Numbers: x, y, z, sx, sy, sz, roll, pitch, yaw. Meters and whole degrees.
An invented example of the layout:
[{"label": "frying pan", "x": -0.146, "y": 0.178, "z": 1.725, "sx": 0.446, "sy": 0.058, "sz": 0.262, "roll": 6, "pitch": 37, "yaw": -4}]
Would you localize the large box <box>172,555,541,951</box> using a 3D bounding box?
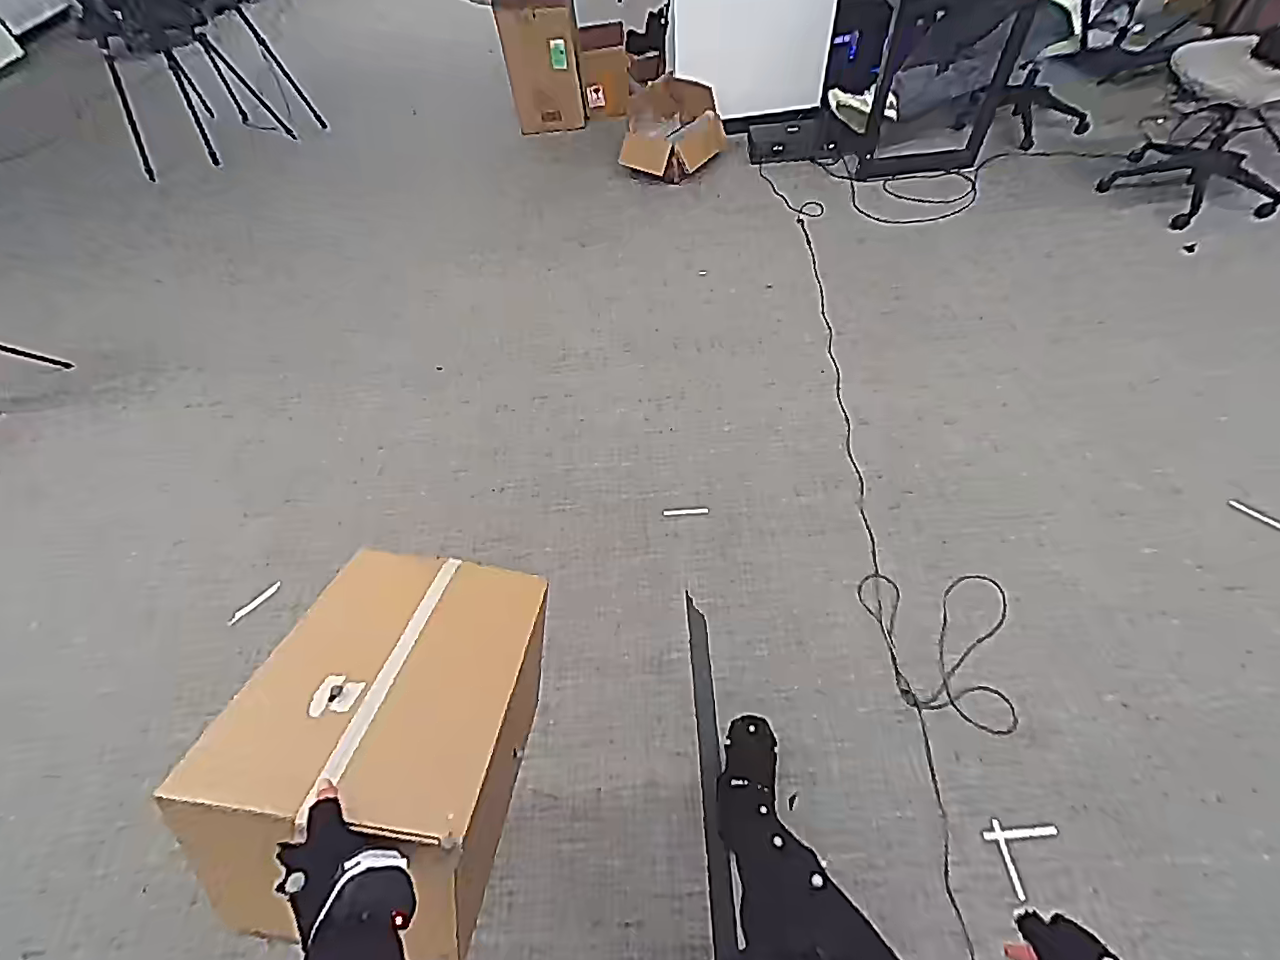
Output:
[{"label": "large box", "x": -0.347, "y": 0.375, "z": 0.803, "sx": 0.320, "sy": 0.320, "sz": 0.408, "roll": 9, "pitch": 32, "yaw": -1}]
